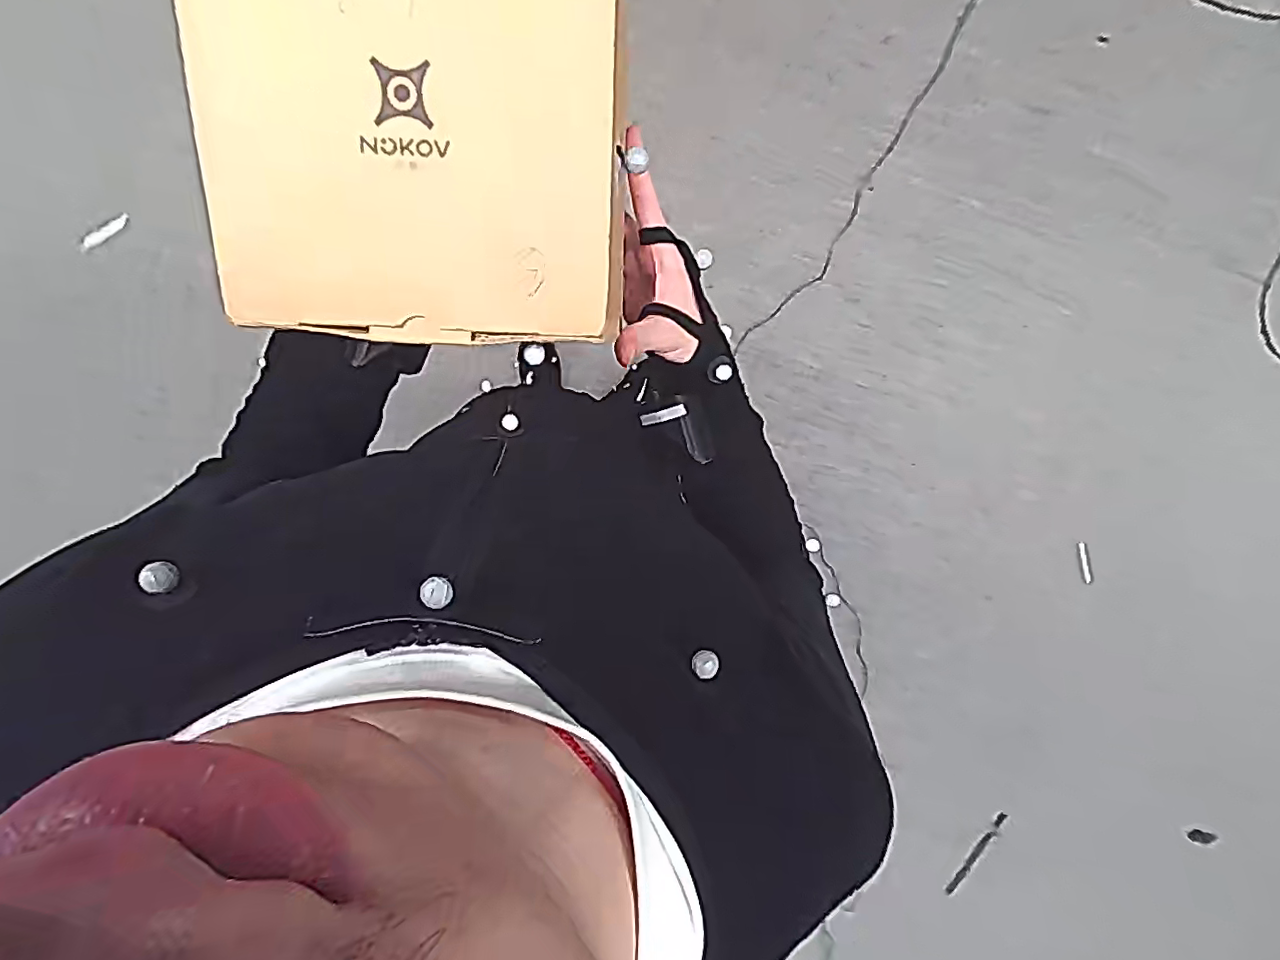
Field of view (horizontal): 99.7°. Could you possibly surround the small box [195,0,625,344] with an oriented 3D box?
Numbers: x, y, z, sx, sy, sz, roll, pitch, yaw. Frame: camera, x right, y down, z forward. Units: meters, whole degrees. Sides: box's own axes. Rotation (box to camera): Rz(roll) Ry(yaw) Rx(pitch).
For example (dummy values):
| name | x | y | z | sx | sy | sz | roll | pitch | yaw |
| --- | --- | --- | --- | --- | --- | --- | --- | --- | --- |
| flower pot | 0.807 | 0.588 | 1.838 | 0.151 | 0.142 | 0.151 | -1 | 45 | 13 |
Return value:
| name | x | y | z | sx | sy | sz | roll | pitch | yaw |
| --- | --- | --- | --- | --- | --- | --- | --- | --- | --- |
| small box | -0.095 | -0.171 | 0.301 | 0.168 | 0.176 | 0.179 | 2 | 105 | -1 |
